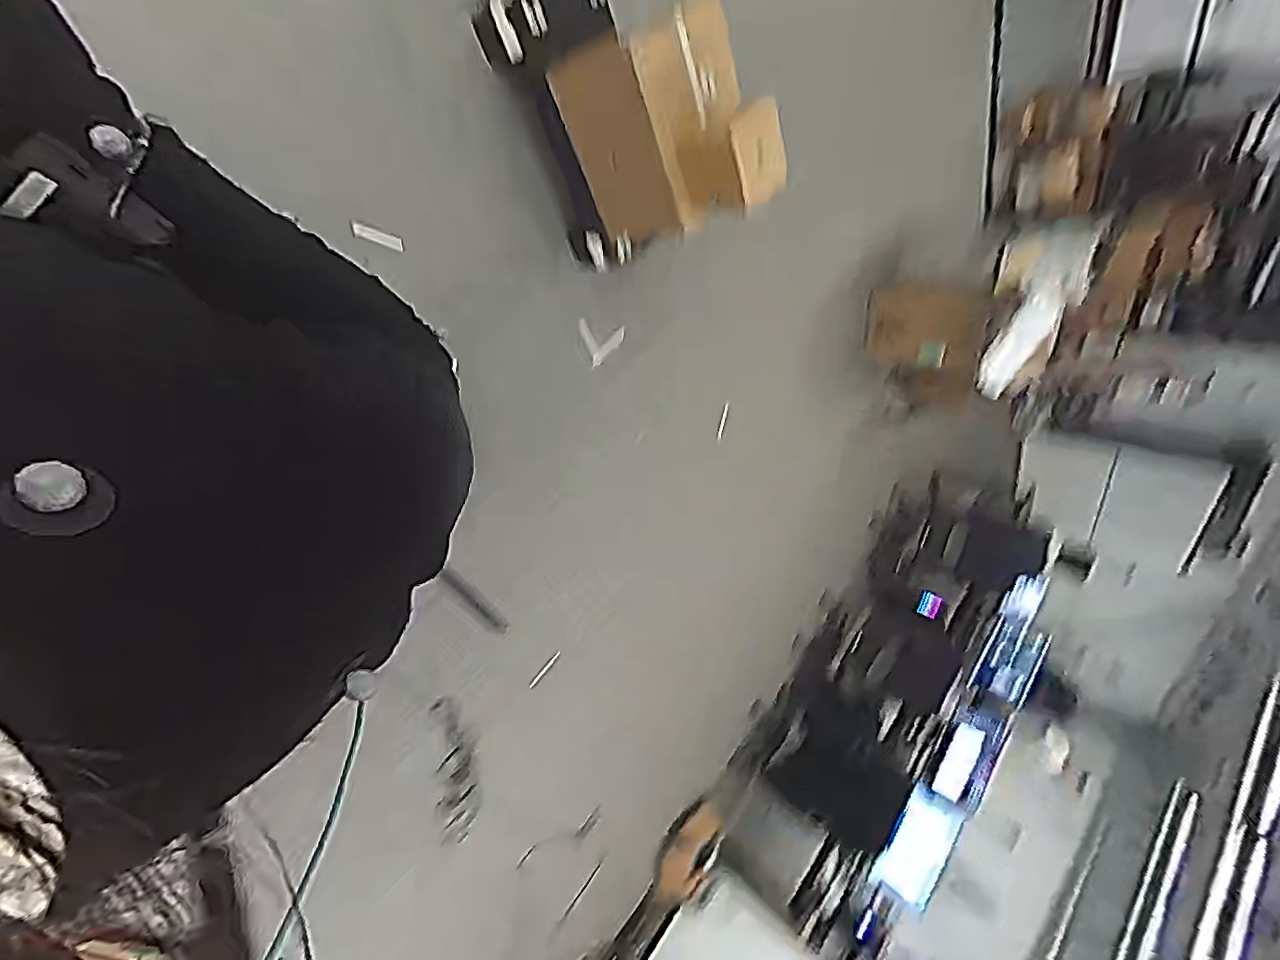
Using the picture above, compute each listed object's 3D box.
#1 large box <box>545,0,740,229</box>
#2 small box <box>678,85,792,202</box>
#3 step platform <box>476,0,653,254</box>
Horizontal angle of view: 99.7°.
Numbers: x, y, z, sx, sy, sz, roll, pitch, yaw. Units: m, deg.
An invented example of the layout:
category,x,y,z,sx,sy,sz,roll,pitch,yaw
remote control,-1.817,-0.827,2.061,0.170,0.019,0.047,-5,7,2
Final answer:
category,x,y,z,sx,sy,sz,roll,pitch,yaw
large box,0.038,-0.906,1.361,0.320,0.320,0.408,-48,133,-20
small box,0.217,-0.761,1.239,0.168,0.176,0.179,-46,133,-20
step platform,-0.155,-0.997,1.482,0.286,0.204,0.684,-43,131,-24
